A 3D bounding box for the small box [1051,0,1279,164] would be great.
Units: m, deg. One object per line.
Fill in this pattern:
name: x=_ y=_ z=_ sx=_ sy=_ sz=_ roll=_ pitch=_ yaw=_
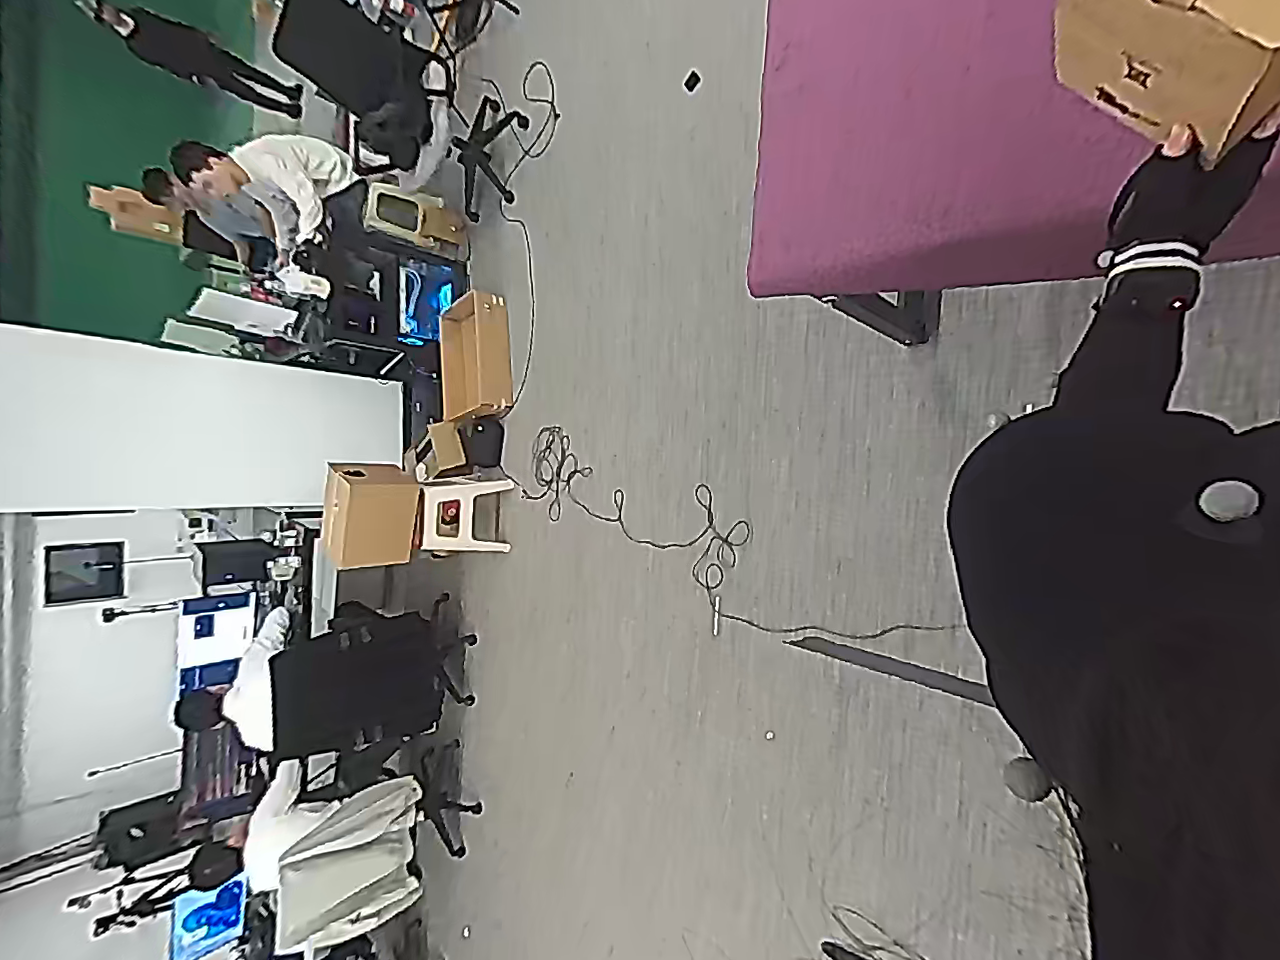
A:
small box: x=0.429 y=-0.371 z=0.371 sx=0.176 sy=0.179 sz=0.168 roll=-47 pitch=65 yaw=30
